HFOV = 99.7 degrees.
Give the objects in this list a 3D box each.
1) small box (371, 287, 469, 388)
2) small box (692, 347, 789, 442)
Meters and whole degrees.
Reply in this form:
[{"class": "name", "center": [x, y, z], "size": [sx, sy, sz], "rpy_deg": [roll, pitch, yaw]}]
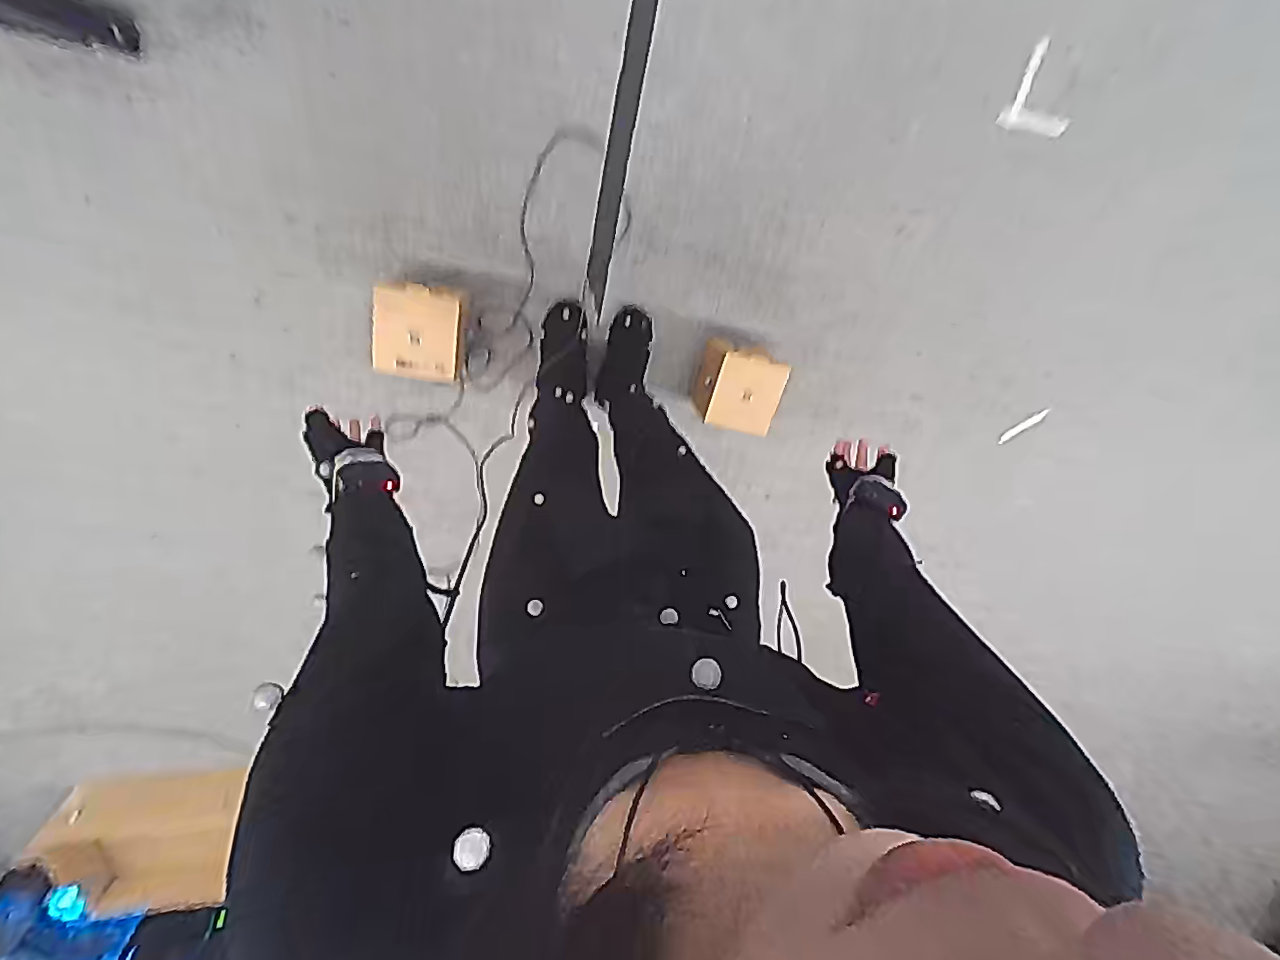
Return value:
[{"class": "small box", "center": [-0.473, -0.316, 1.178], "size": [0.168, 0.176, 0.179], "rpy_deg": [8, 111, -12]}, {"class": "small box", "center": [0.238, -0.217, 1.335], "size": [0.168, 0.176, 0.179], "rpy_deg": [10, 114, -12]}]
